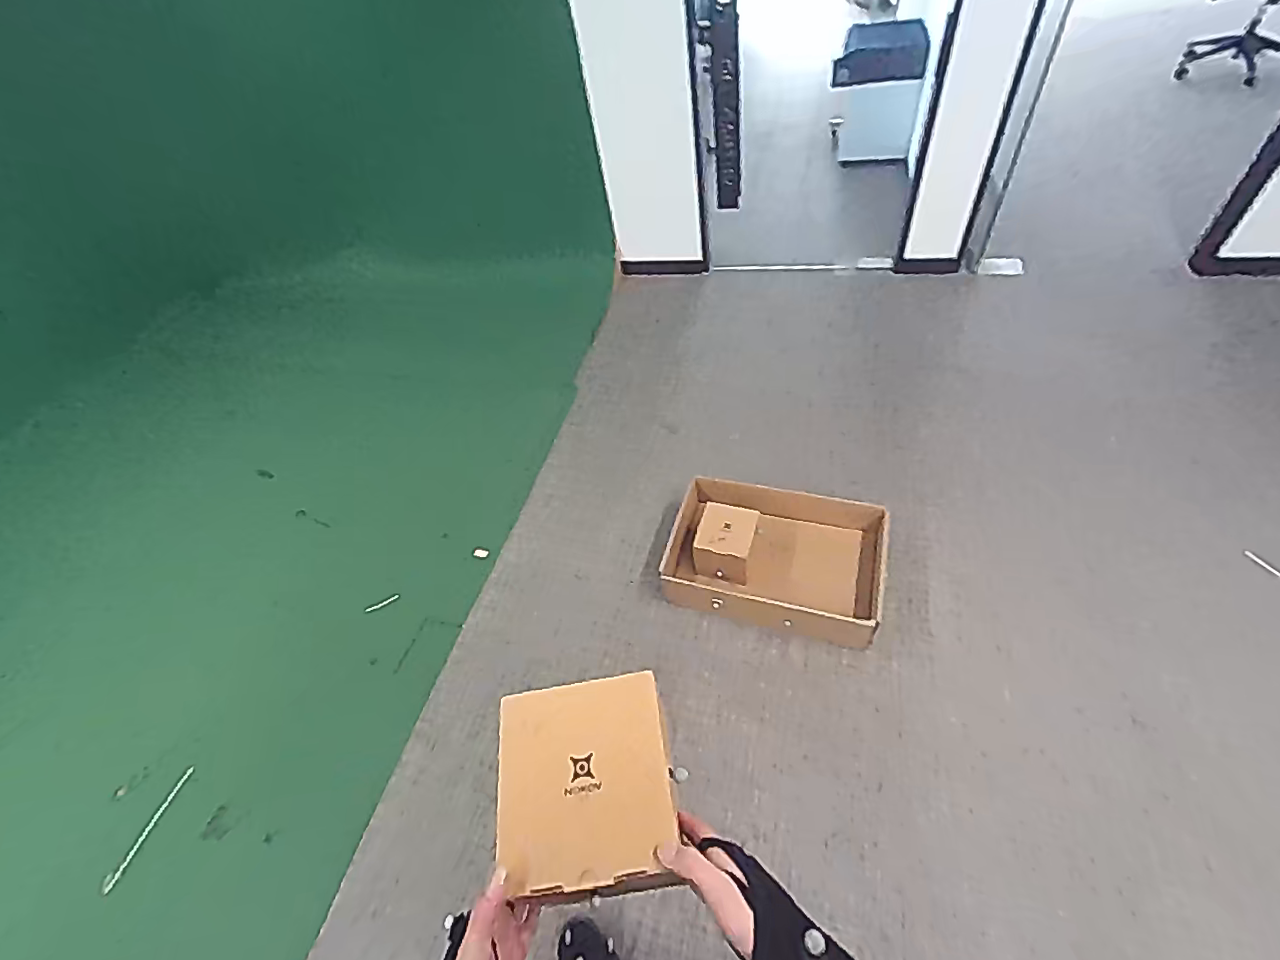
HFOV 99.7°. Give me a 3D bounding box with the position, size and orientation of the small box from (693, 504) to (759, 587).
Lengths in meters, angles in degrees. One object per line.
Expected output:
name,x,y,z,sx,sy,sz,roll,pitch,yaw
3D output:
small box,0.269,0.205,1.681,0.168,0.176,0.179,10,53,19
